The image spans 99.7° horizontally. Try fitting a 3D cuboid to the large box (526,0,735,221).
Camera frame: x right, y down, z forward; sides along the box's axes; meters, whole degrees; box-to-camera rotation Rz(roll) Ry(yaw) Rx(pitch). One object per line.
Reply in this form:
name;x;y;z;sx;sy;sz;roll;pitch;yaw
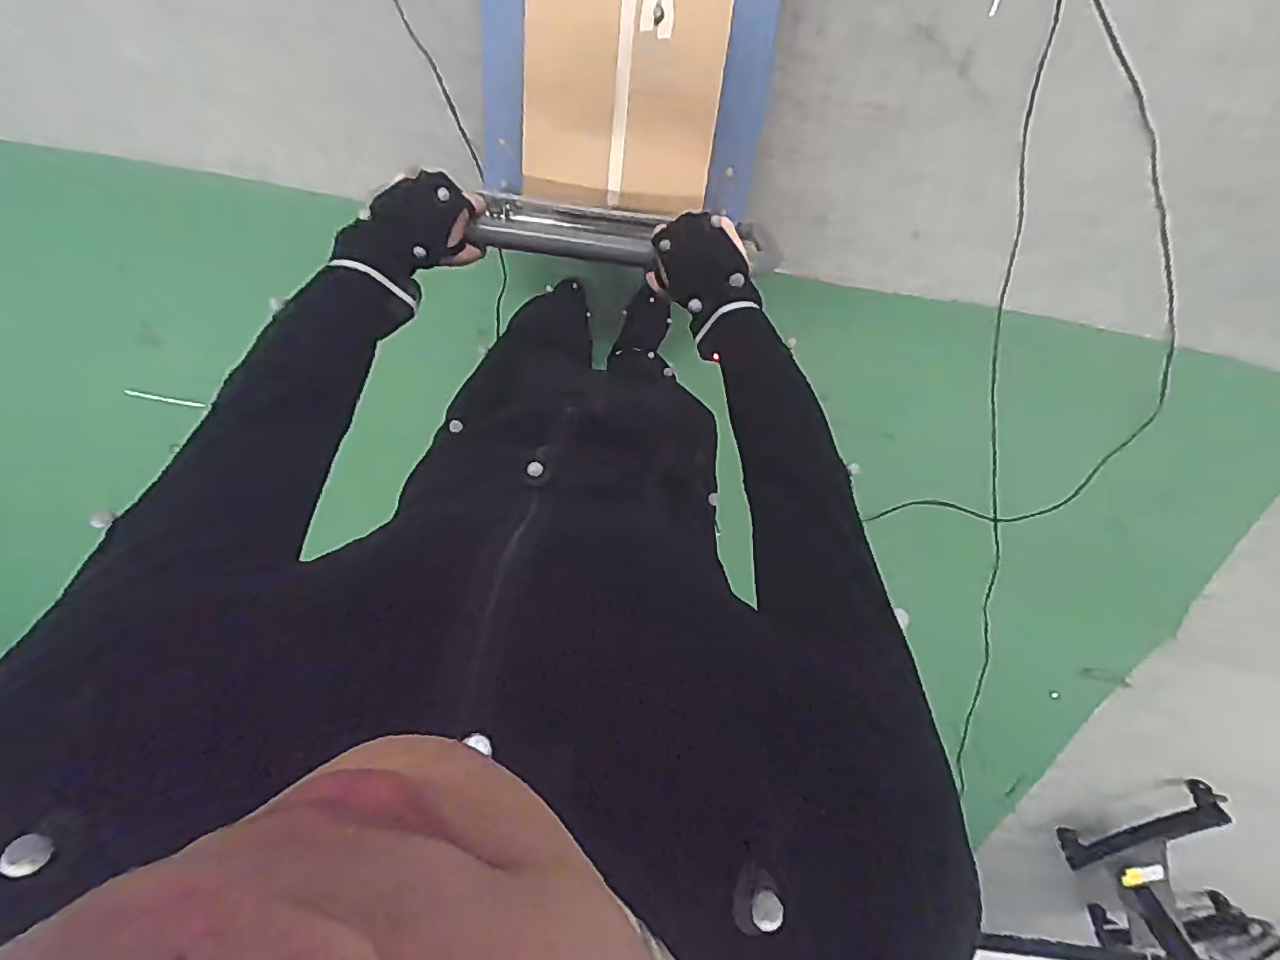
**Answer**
large box;-0.018;-0.707;0.985;0.320;0.320;0.408;6;116;-2
